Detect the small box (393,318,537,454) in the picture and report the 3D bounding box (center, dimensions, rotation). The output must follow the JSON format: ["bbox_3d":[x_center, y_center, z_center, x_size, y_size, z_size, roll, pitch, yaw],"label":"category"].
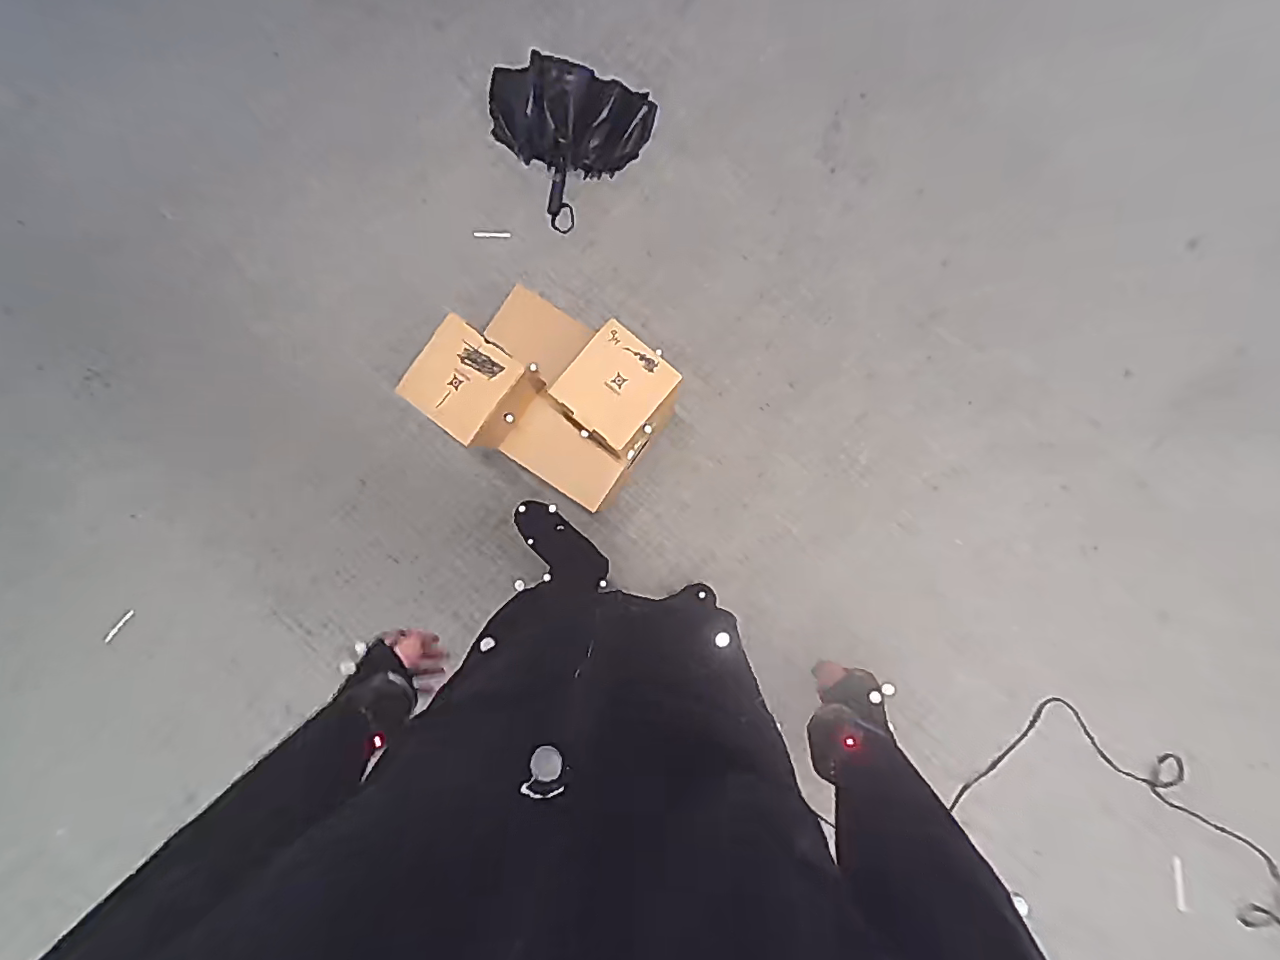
[{"bbox_3d":[-0.312,-0.165,1.013,0.168,0.176,0.179,38,91,2],"label":"small box"}]

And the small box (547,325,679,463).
[{"bbox_3d":[-0.045,-0.148,1.011,0.168,0.176,0.179,41,87,2],"label":"small box"}]
